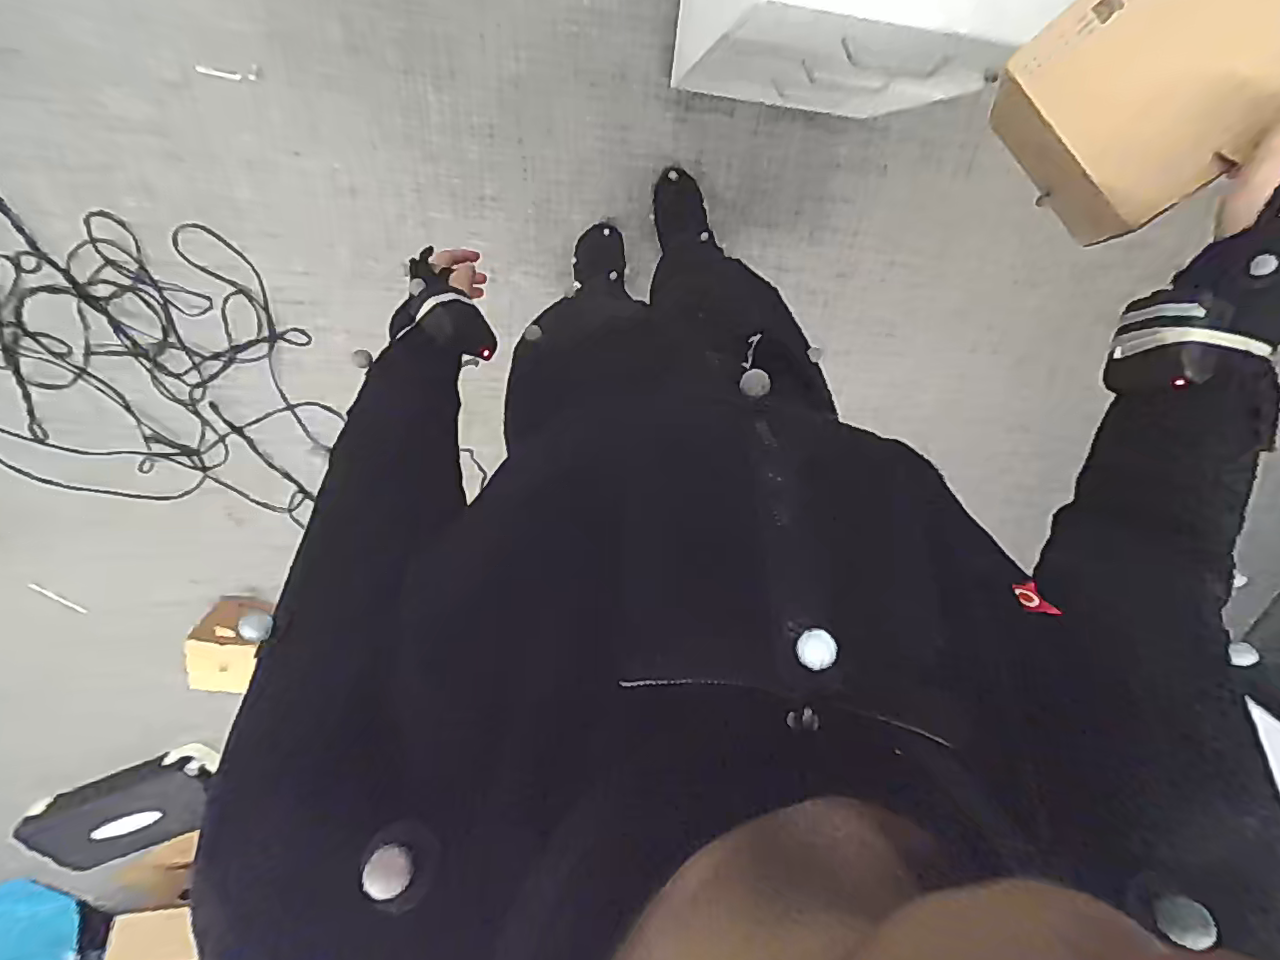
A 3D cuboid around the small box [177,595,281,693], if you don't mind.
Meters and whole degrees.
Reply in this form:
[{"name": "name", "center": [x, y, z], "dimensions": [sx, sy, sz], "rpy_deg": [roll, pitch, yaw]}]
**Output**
[{"name": "small box", "center": [-1.092, 0.439, 1.452], "dimensions": [0.168, 0.176, 0.179], "rpy_deg": [11, 115, -13]}]
